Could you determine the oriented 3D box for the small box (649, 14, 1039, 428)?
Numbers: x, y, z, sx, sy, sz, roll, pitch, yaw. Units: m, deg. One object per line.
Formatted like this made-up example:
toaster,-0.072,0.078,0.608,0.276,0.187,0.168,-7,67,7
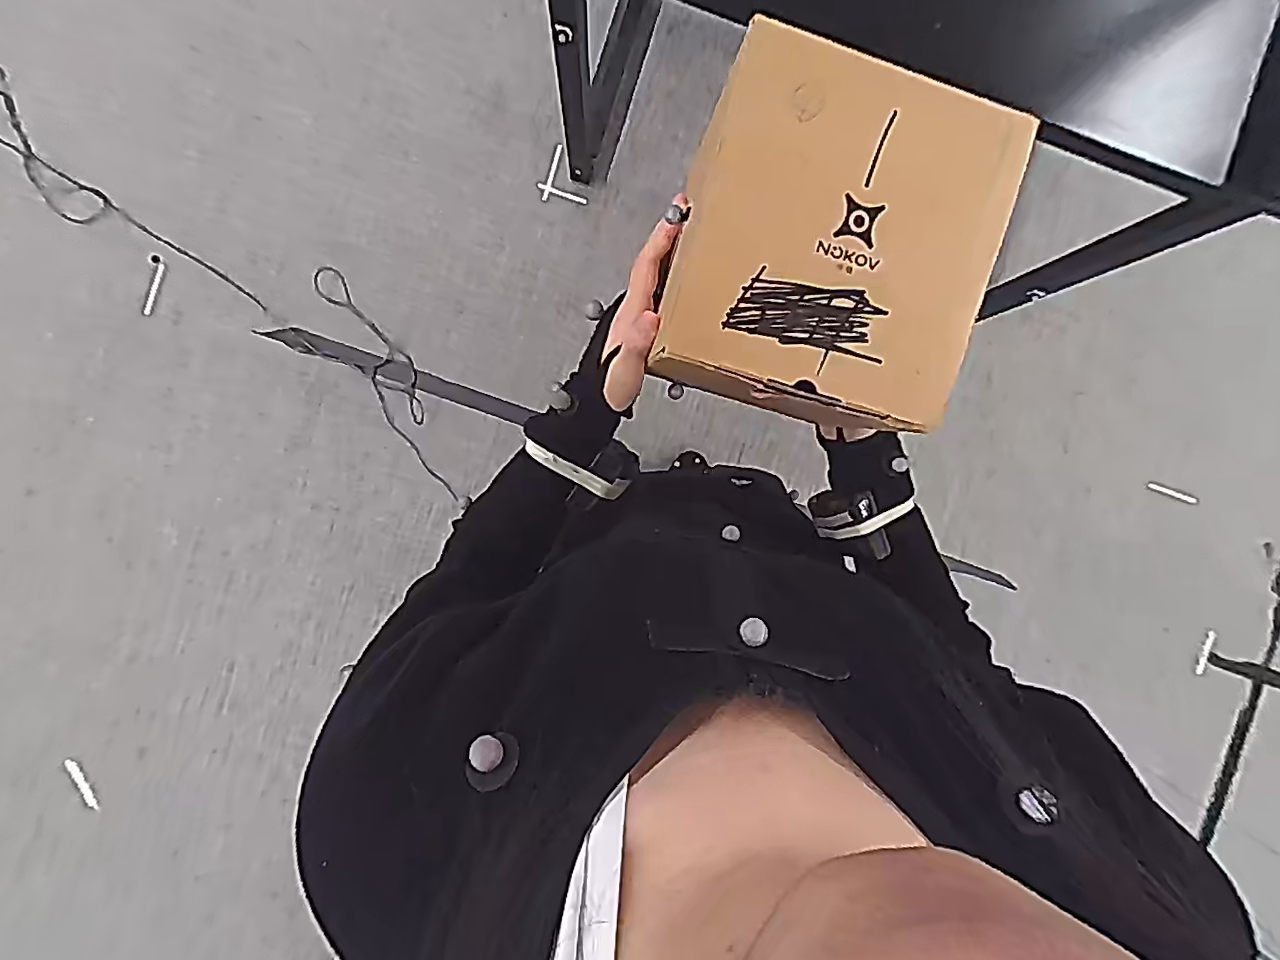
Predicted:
small box,0.107,-0.142,0.368,0.168,0.176,0.179,15,96,-7
